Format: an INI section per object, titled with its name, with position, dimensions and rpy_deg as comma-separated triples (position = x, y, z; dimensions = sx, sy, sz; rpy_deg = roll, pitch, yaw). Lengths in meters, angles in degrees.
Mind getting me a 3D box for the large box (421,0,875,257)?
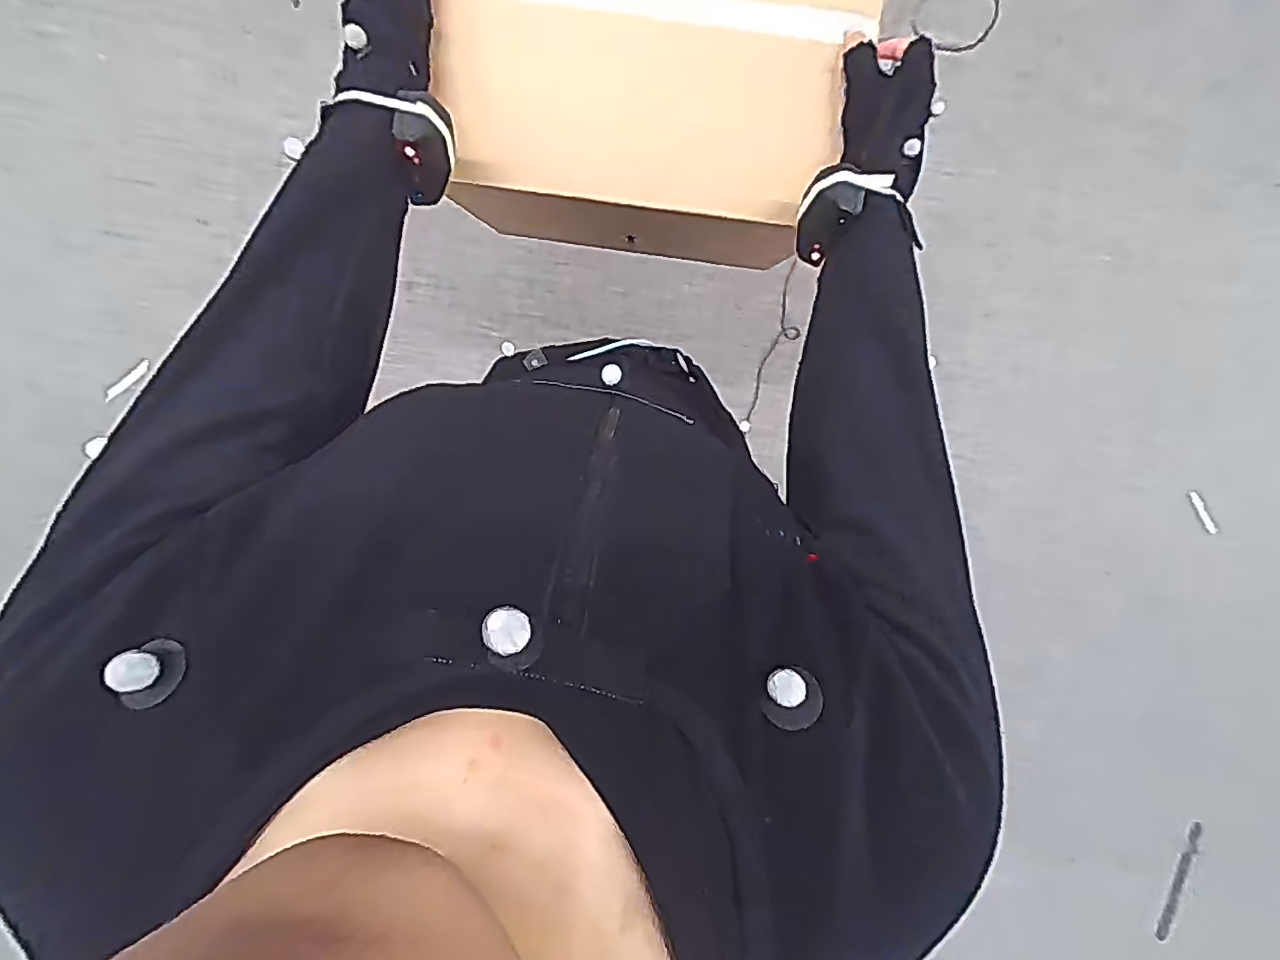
[large box]
position = 0.010, -0.455, 0.621
dimensions = 0.408, 0.320, 0.320
rpy_deg = 7, 104, -1
